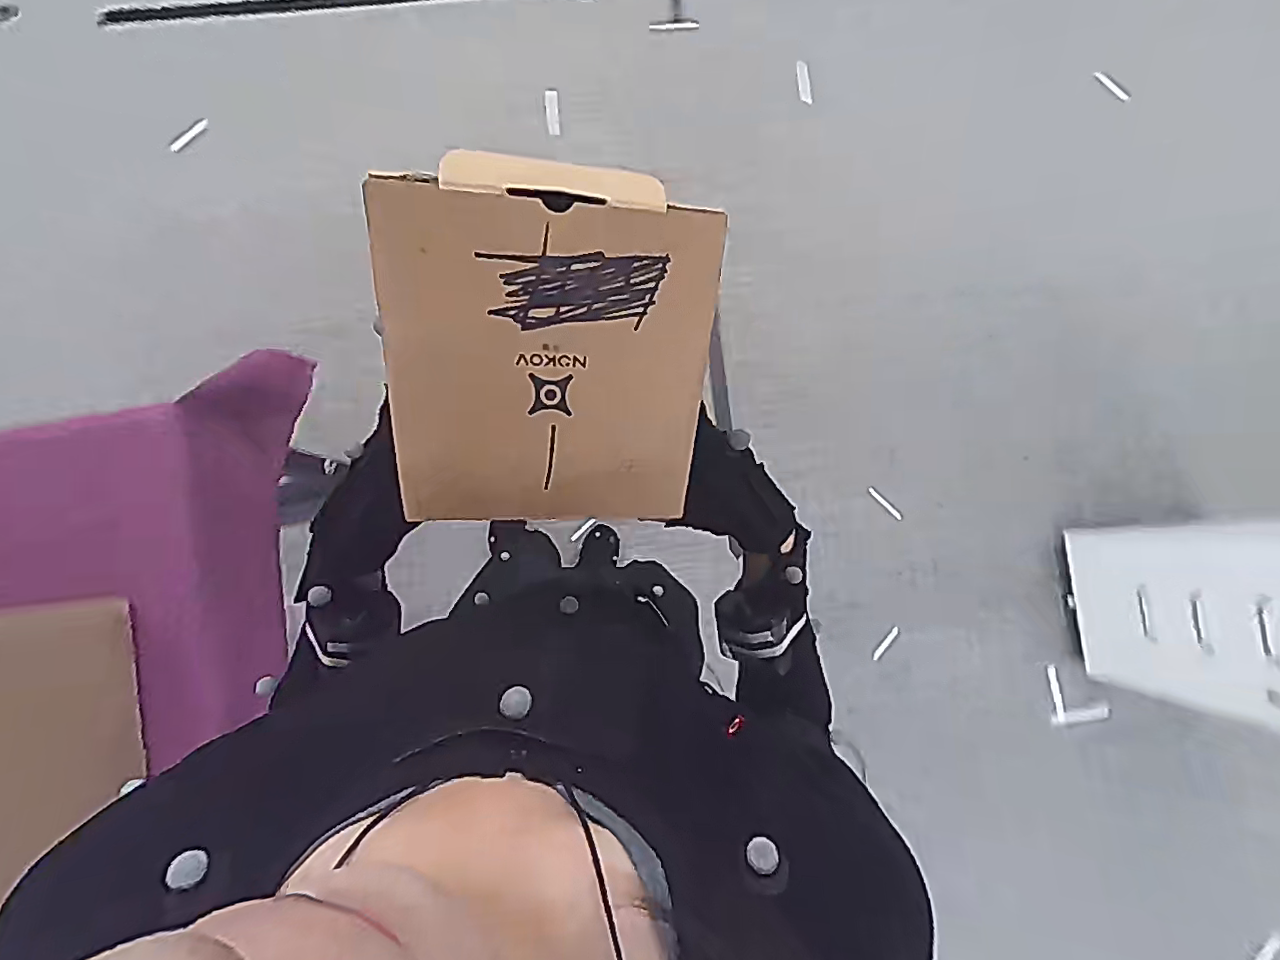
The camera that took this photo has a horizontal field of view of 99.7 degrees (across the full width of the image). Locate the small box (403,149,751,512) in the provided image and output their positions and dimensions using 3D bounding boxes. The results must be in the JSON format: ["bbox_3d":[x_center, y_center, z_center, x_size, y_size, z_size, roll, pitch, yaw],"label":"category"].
[{"bbox_3d":[-0.048,-0.096,0.353,0.168,0.176,0.179,2,116,-11],"label":"small box"}]
